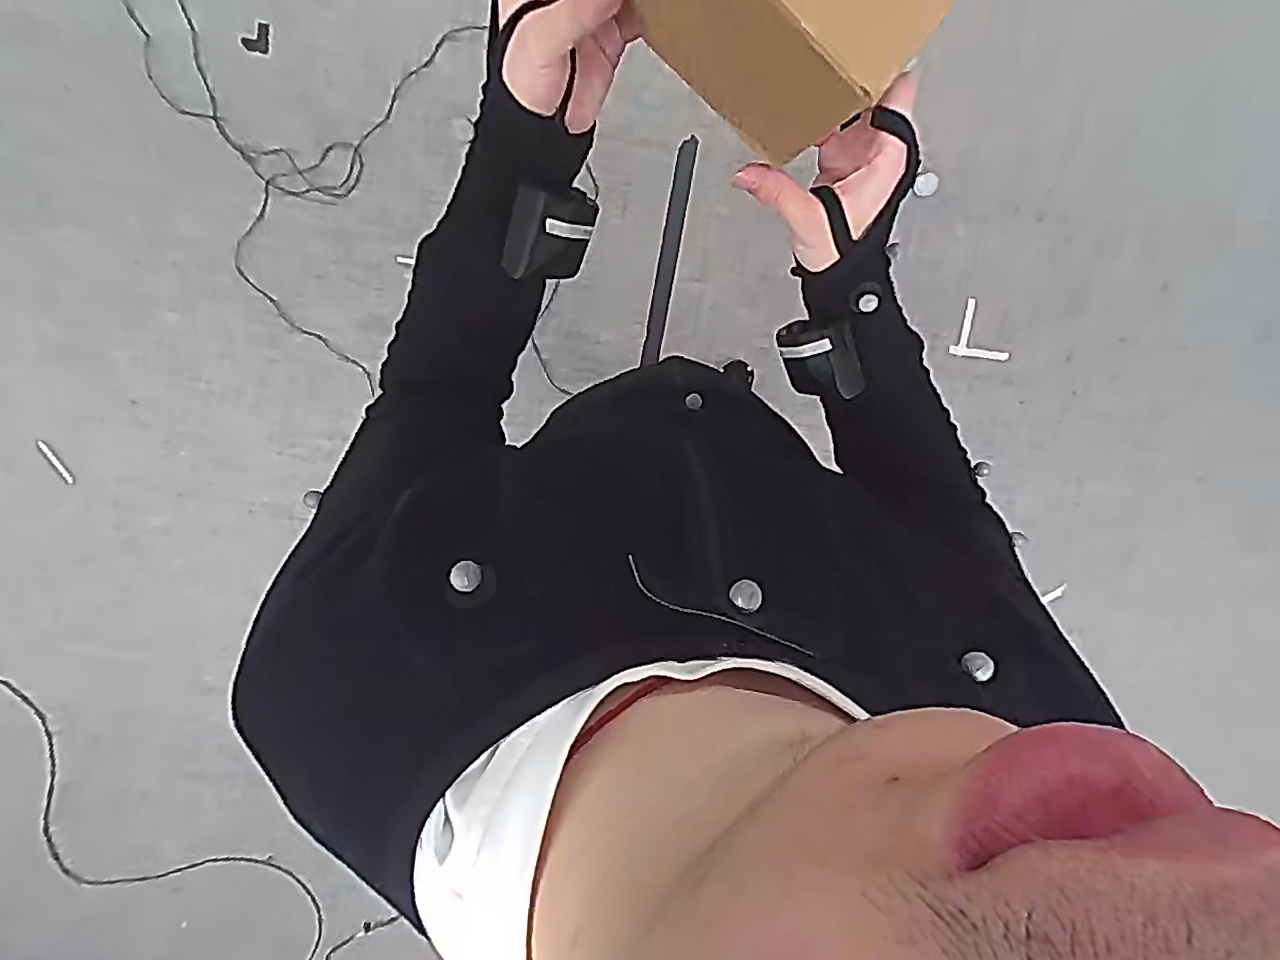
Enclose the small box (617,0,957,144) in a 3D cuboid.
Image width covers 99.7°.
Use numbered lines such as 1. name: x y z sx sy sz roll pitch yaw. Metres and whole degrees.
1. small box: 0.066 -0.267 0.208 0.179 0.176 0.168 37 110 -13
